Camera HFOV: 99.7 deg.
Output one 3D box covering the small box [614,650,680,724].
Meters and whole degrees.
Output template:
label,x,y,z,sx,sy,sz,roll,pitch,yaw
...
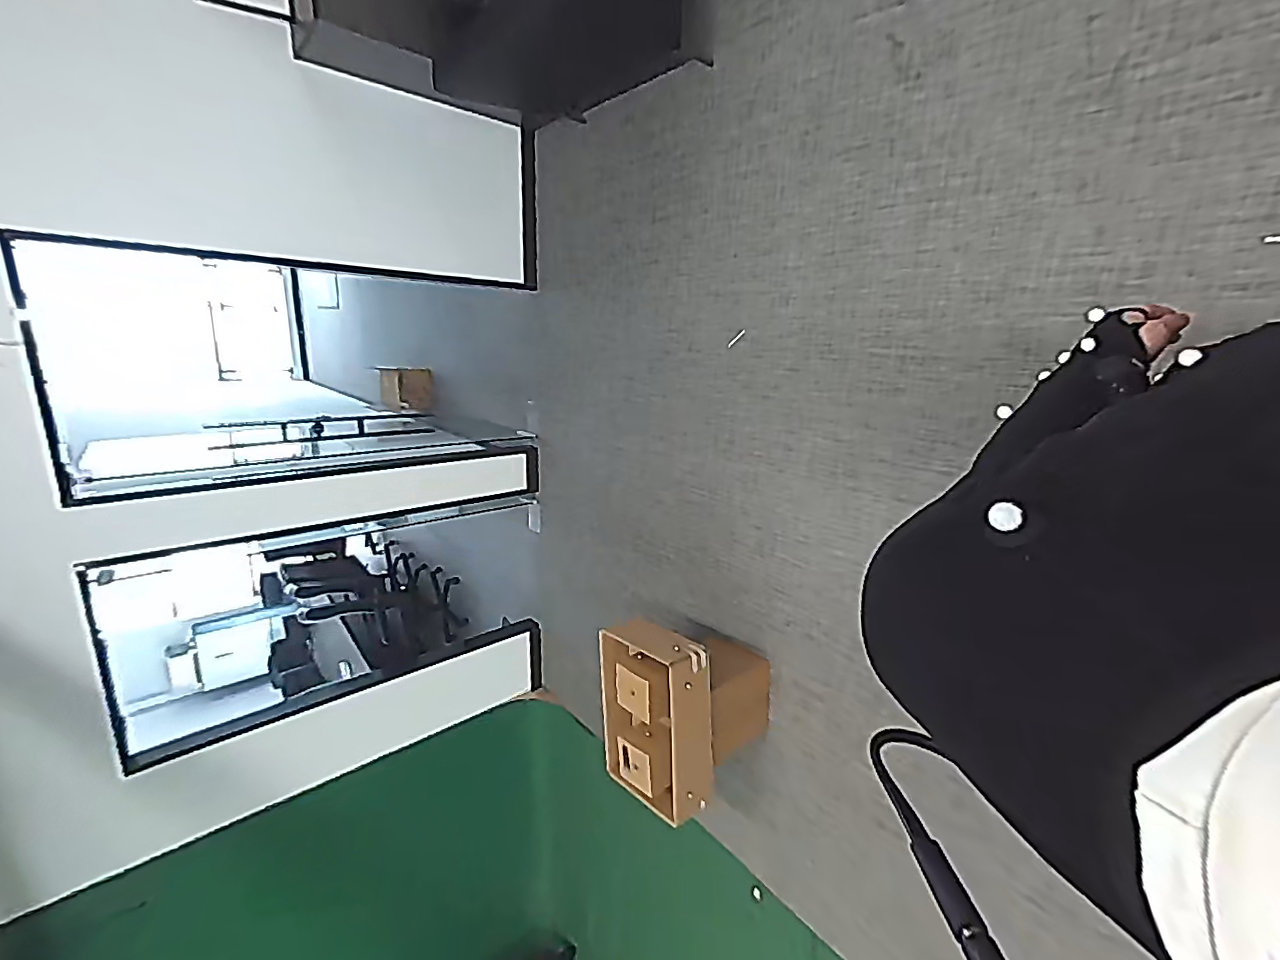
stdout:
label,x,y,z,sx,sy,sz,roll,pitch,yaw
small box,0.024,0.733,1.941,0.179,0.176,0.168,11,107,47
